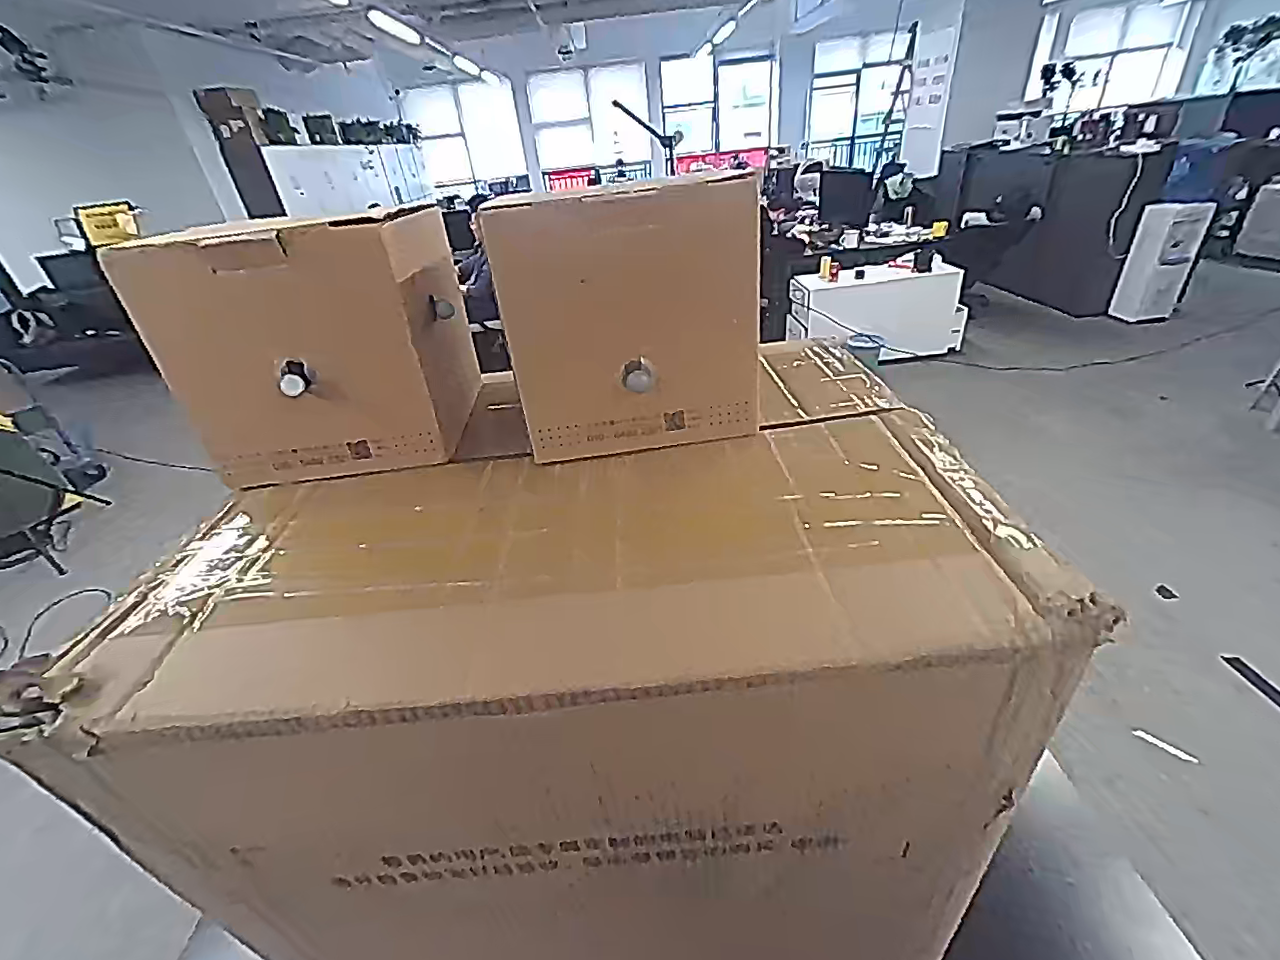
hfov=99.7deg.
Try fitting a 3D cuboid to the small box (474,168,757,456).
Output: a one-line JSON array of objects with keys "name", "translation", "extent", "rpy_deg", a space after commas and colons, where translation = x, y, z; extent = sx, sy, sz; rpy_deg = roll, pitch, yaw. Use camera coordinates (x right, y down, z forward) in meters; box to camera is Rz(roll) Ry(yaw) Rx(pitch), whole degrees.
[{"name": "small box", "translation": [-0.012, -0.135, 0.419], "extent": [0.168, 0.176, 0.179], "rpy_deg": [-8, 30, -1]}]

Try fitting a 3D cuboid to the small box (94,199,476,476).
[{"name": "small box", "translation": [-0.239, -0.113, 0.428], "extent": [0.168, 0.176, 0.179], "rpy_deg": [-8, 31, -3]}]
